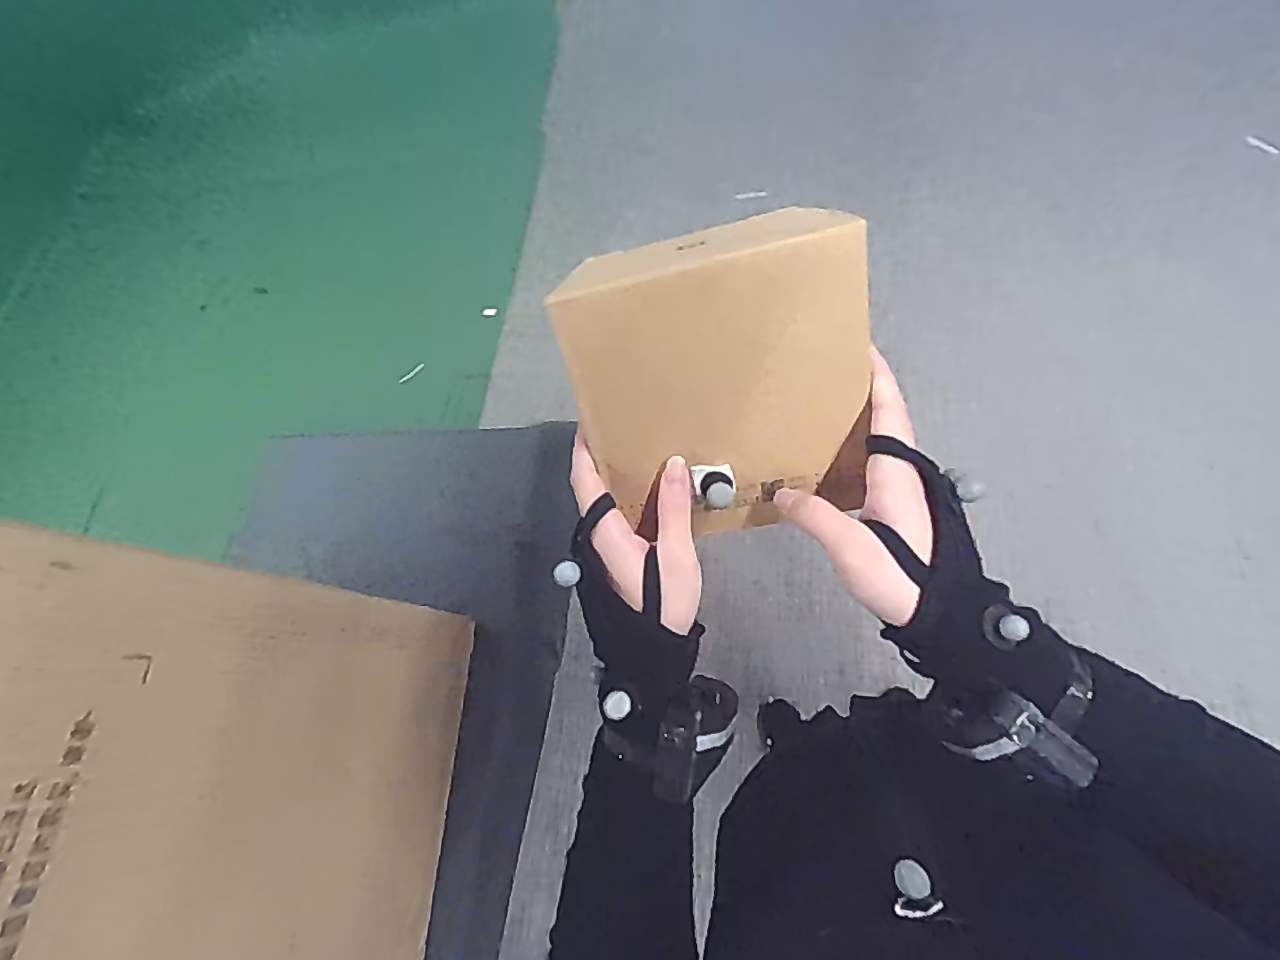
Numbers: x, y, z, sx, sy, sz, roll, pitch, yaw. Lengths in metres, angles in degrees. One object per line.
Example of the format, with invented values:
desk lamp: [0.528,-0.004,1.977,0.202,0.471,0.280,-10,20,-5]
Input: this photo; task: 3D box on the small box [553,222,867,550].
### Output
small box: [0.053,-0.074,0.392,0.168,0.176,0.179,-12,27,8]
